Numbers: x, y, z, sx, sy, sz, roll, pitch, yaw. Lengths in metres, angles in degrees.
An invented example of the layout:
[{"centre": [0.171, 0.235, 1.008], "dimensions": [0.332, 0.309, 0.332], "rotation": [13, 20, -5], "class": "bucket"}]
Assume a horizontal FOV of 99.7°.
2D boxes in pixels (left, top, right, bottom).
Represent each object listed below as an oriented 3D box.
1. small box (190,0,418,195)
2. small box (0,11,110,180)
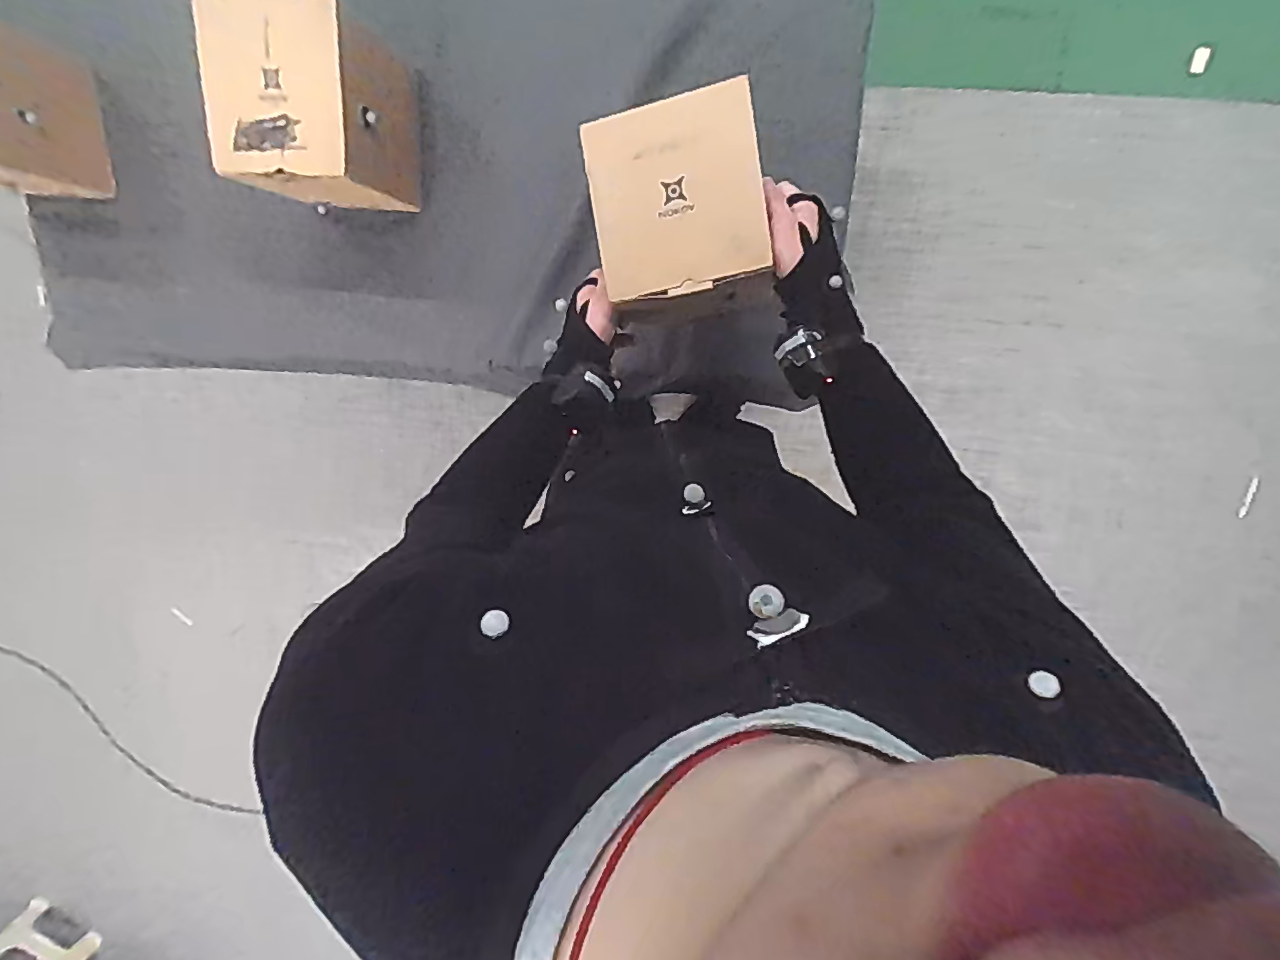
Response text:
[{"centre": [-0.386, -0.459, 0.655], "dimensions": [0.168, 0.176, 0.179], "rotation": [6, 106, 6], "class": "small box"}, {"centre": [-0.856, -0.504, 0.703], "dimensions": [0.168, 0.176, 0.179], "rotation": [4, 108, 5], "class": "small box"}]
